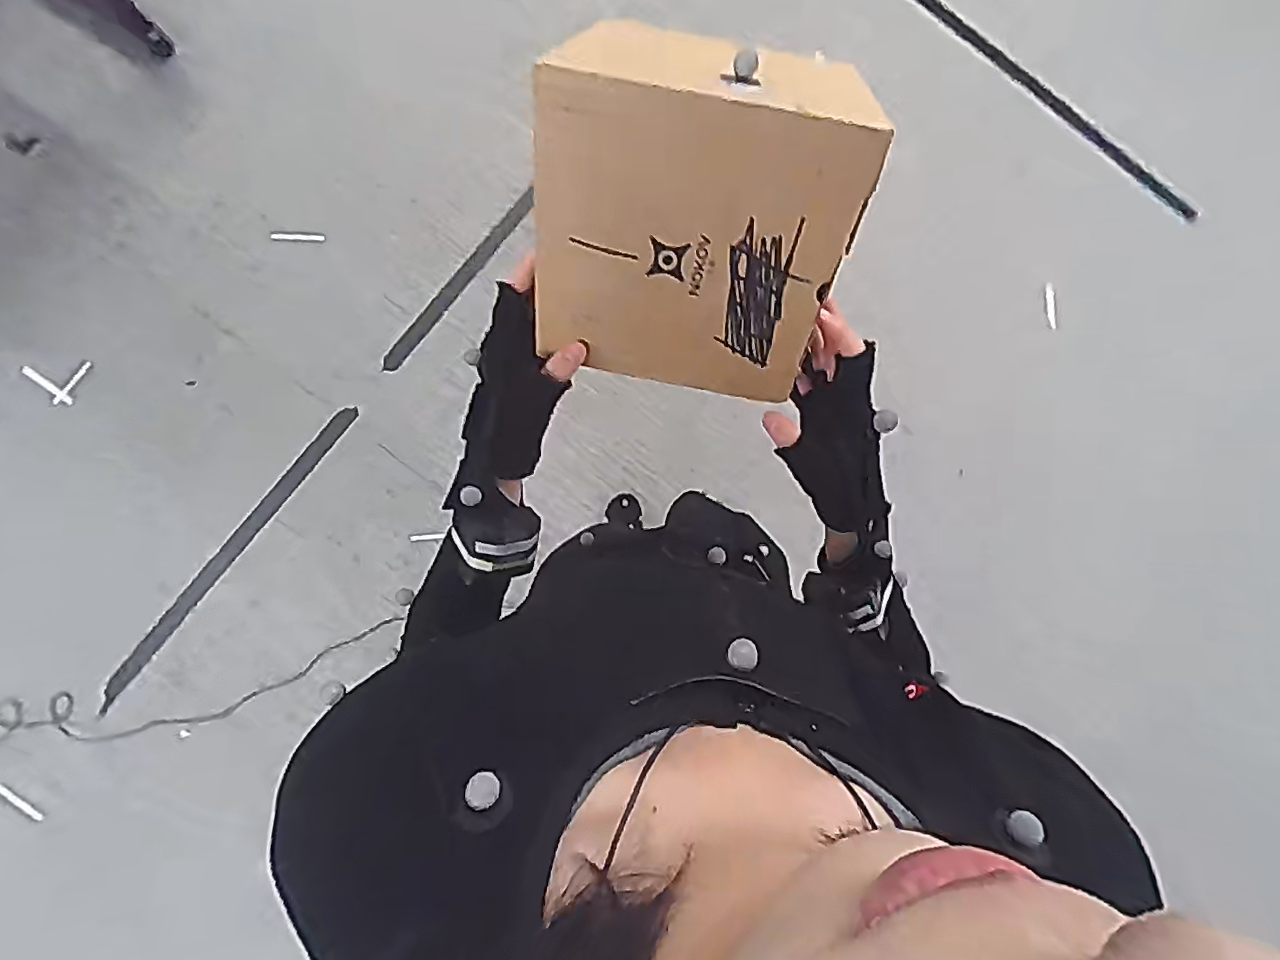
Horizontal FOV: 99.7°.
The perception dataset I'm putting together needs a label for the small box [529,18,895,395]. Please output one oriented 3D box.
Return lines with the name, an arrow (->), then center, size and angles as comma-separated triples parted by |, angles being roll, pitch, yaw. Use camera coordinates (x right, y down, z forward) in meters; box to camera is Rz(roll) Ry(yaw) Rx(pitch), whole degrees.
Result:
small box -> 0.035, -0.184, 0.360 | 0.179, 0.168, 0.176 | 11, 45, 1
